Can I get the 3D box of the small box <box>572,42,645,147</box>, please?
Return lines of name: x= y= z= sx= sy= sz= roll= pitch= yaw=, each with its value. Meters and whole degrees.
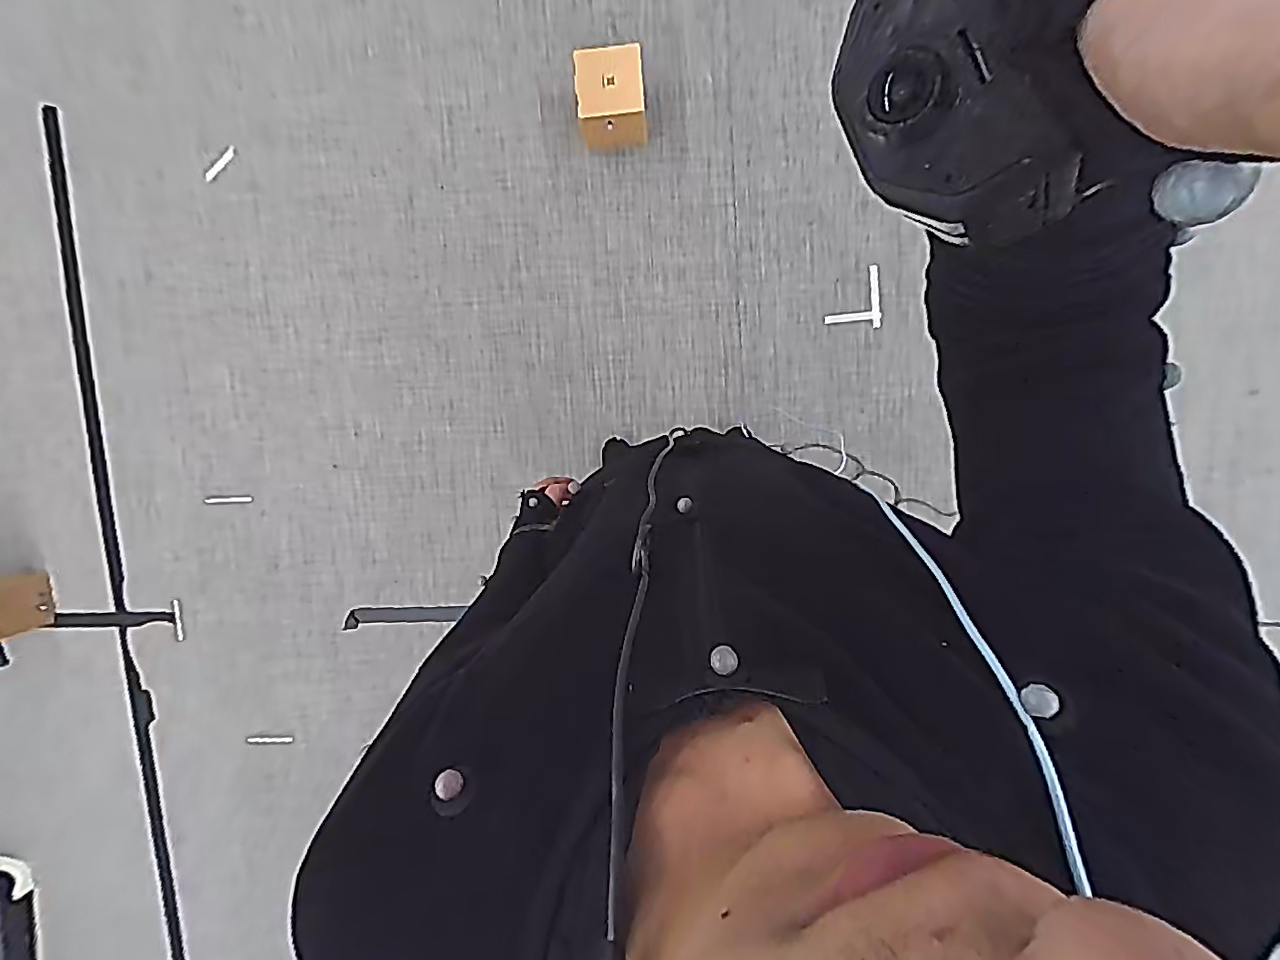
small box: x=-0.078 y=-1.034 z=1.464 sx=0.179 sy=0.176 sz=0.168 roll=-4 pitch=96 yaw=5
